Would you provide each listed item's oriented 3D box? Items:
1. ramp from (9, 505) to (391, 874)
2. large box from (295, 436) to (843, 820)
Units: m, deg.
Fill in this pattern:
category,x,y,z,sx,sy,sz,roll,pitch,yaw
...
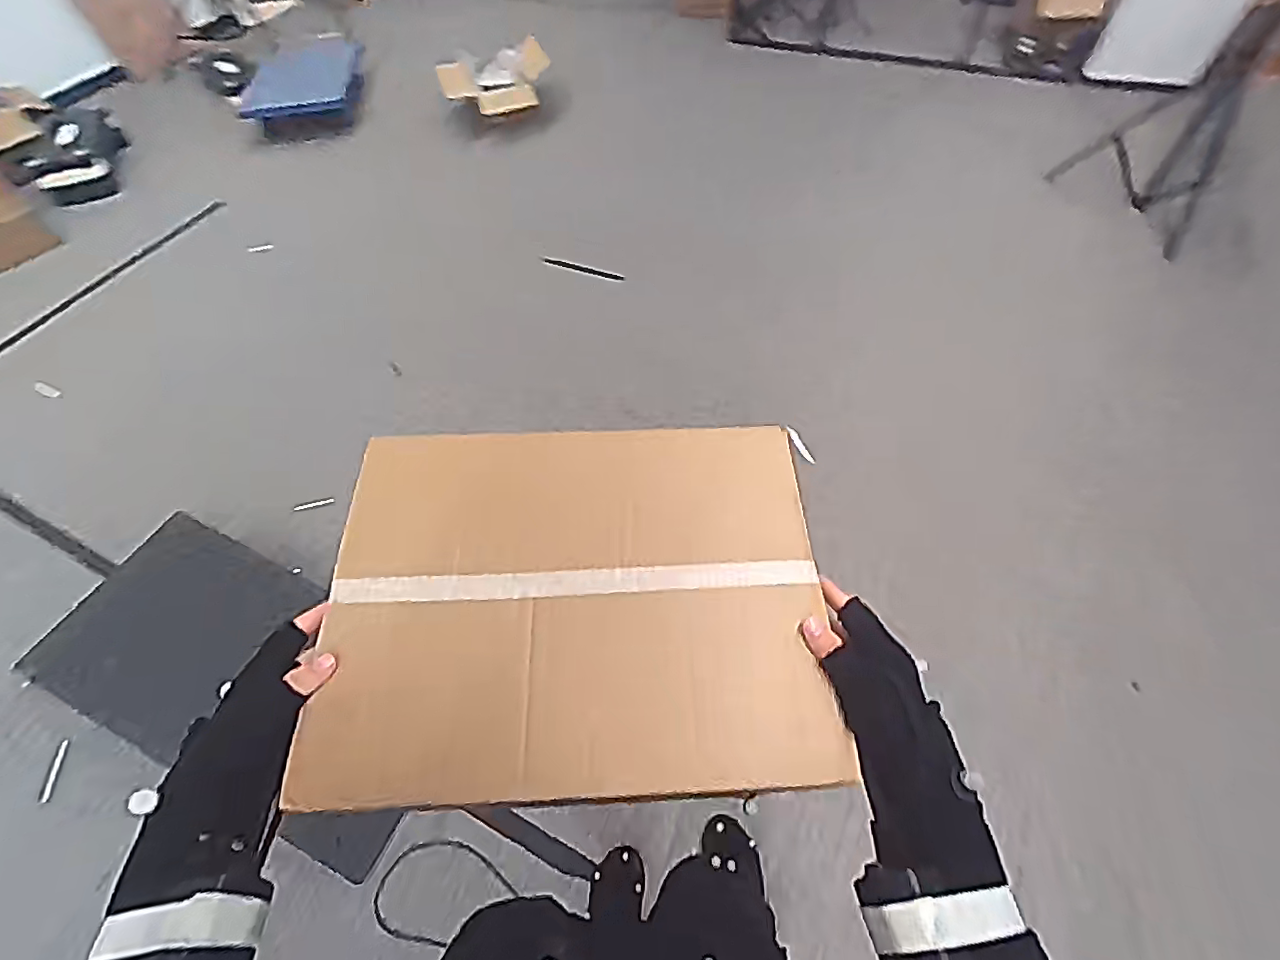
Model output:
category,x,y,z,sx,sy,sz,roll,pitch,yaw
ramp,-0.970,0.472,1.364,0.991,0.206,0.509,20,59,14
large box,-0.058,0.170,0.591,0.408,0.320,0.320,-2,59,-3
